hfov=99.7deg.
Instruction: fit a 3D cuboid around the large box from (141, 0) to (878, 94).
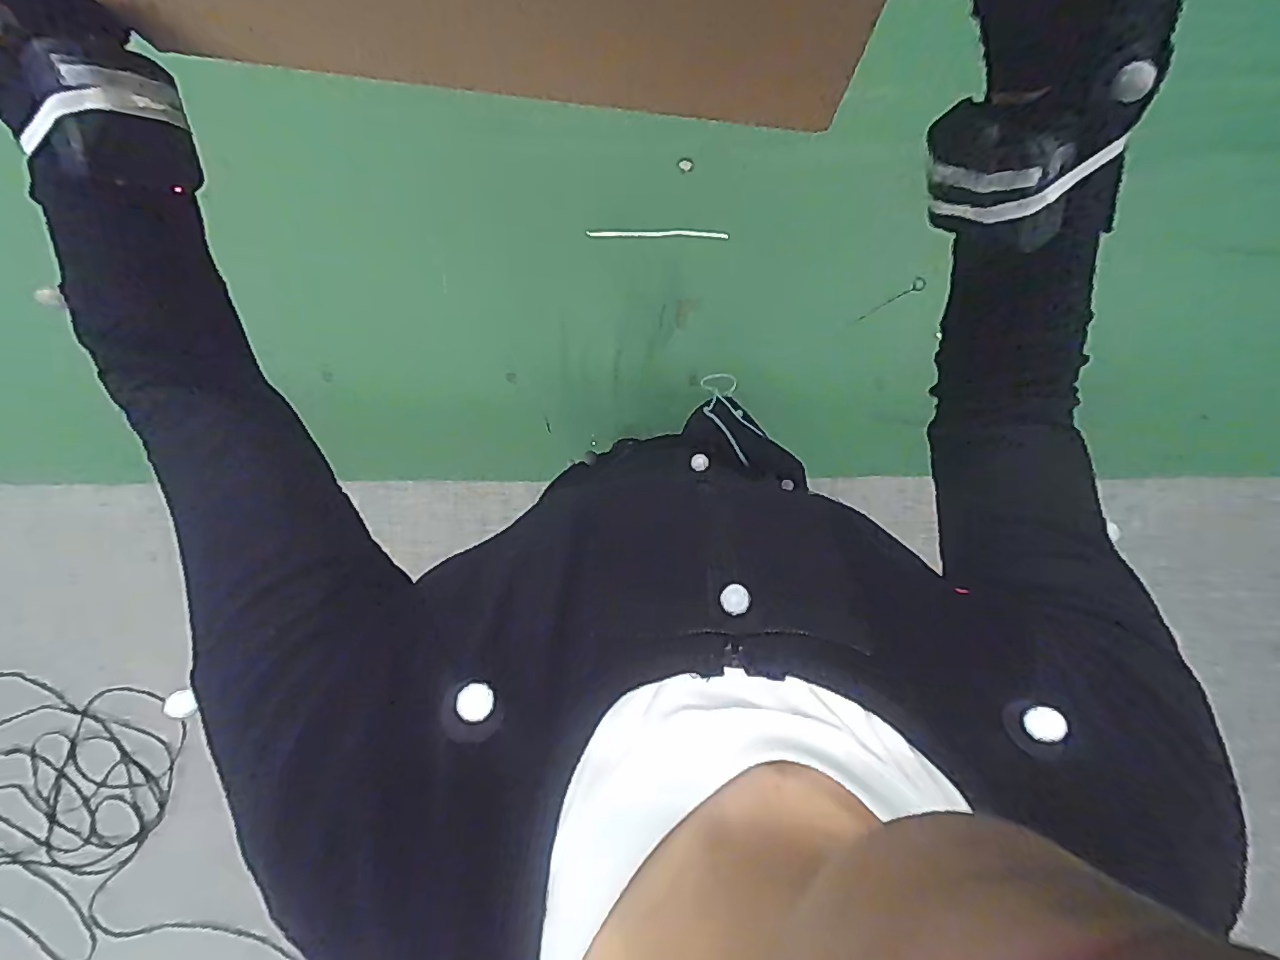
[{"bbox_3d":[-0.073,-0.383,0.157,0.408,0.320,0.320,9,93,3],"label":"large box"}]
